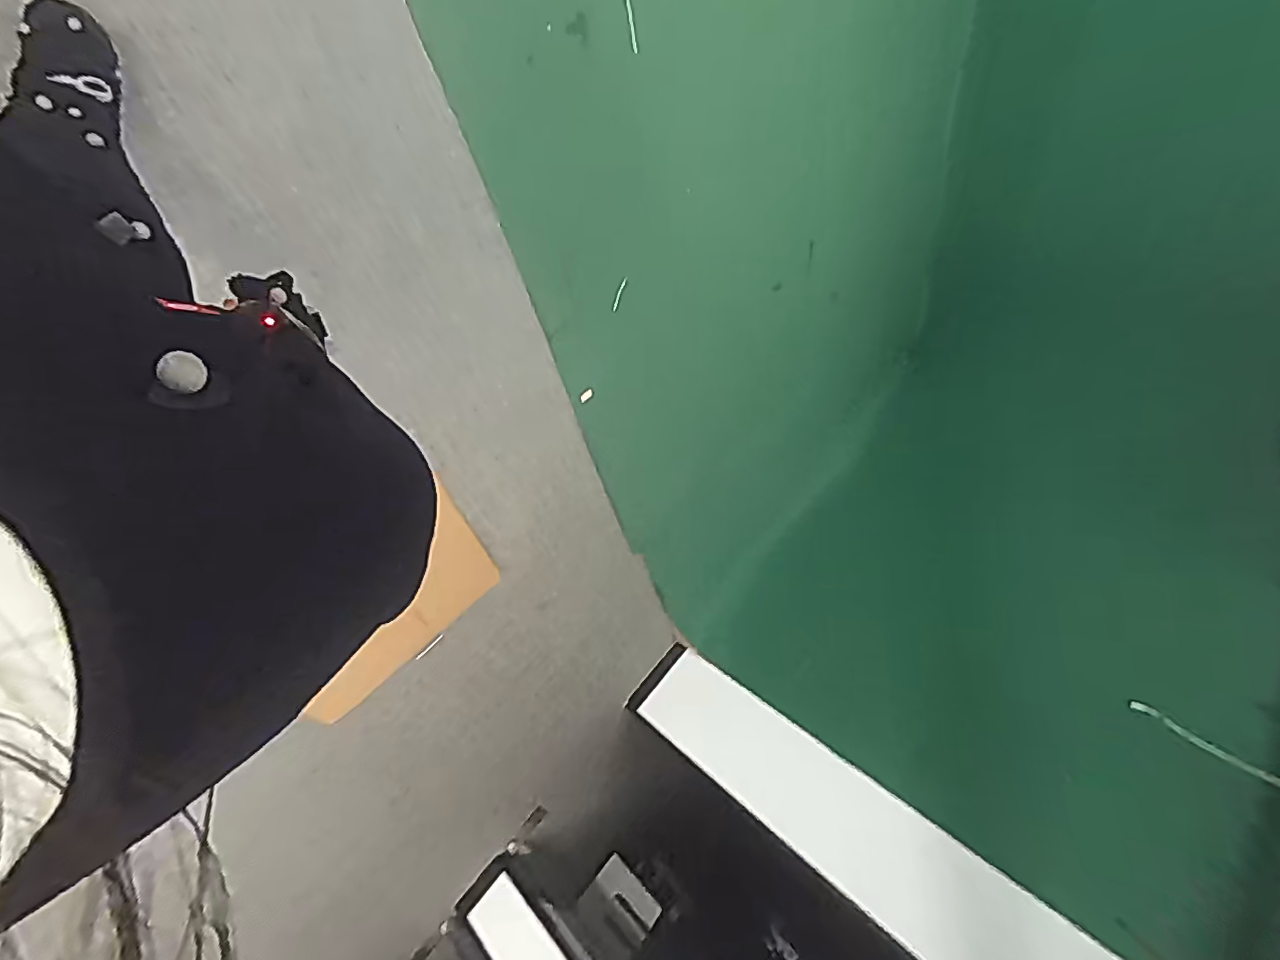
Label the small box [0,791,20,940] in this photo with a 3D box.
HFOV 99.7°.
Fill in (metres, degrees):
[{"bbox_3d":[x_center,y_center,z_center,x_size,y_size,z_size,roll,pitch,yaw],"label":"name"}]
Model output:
[{"bbox_3d":[-1.071,0.609,0.814,0.168,0.176,0.179,-8,116,-46],"label":"small box"}]
